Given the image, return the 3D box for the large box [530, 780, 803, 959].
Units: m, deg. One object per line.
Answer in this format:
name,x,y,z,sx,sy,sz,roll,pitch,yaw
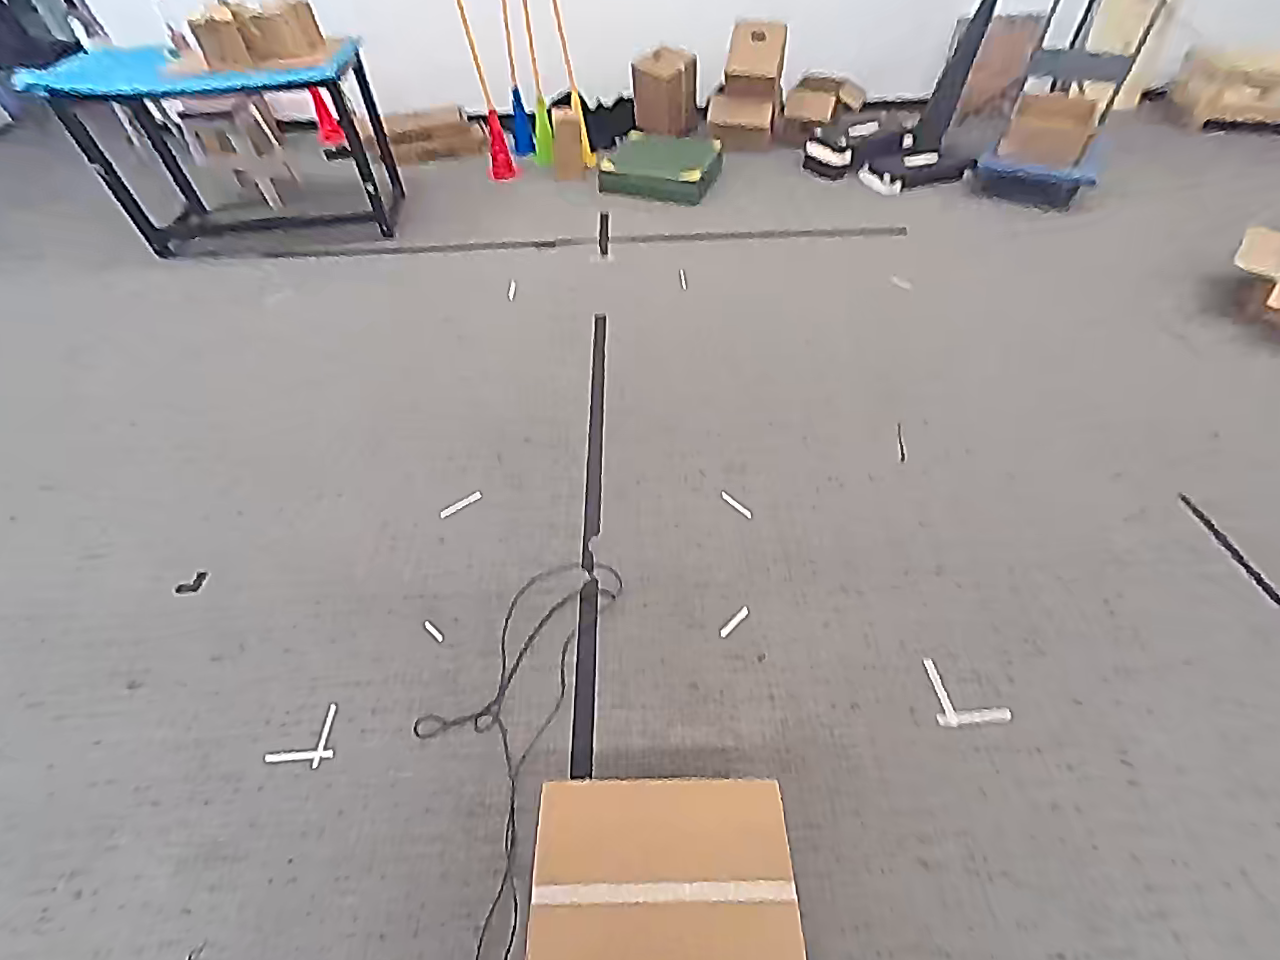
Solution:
large box,0.038,0.735,0.941,0.408,0.320,0.320,-1,50,1
